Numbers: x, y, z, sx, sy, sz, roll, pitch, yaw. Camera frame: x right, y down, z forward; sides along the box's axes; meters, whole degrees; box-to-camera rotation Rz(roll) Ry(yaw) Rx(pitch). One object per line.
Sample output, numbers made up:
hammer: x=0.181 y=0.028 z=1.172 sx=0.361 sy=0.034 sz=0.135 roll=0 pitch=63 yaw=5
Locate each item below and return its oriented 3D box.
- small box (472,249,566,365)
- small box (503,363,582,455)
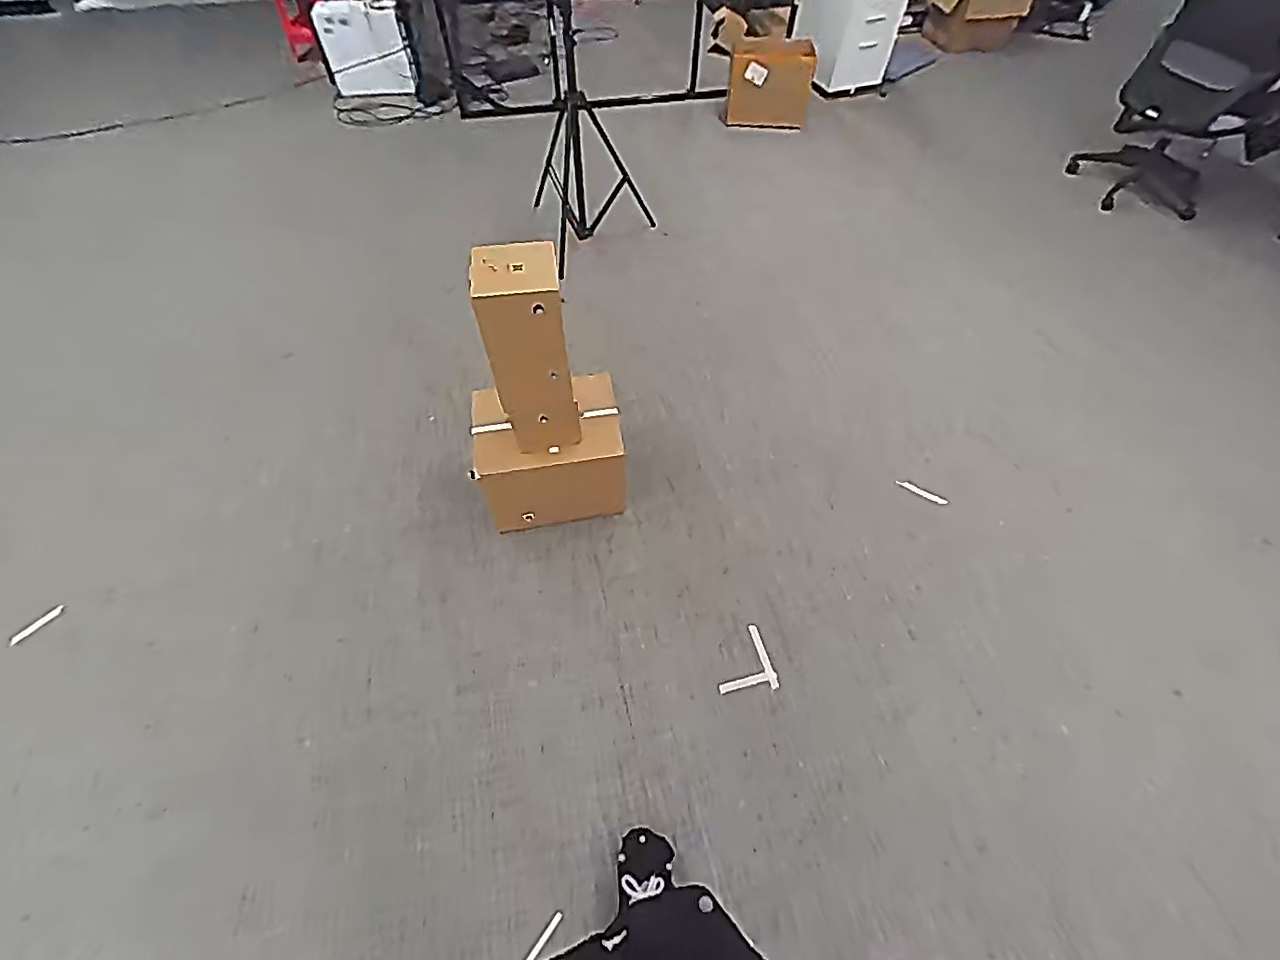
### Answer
small box: x=-0.255 y=-0.369 z=1.166 sx=0.179 sy=0.176 sz=0.168 roll=-8 pitch=56 yaw=-6
small box: x=-0.257 y=-0.184 z=1.437 sx=0.179 sy=0.176 sz=0.168 roll=-10 pitch=58 yaw=-9
